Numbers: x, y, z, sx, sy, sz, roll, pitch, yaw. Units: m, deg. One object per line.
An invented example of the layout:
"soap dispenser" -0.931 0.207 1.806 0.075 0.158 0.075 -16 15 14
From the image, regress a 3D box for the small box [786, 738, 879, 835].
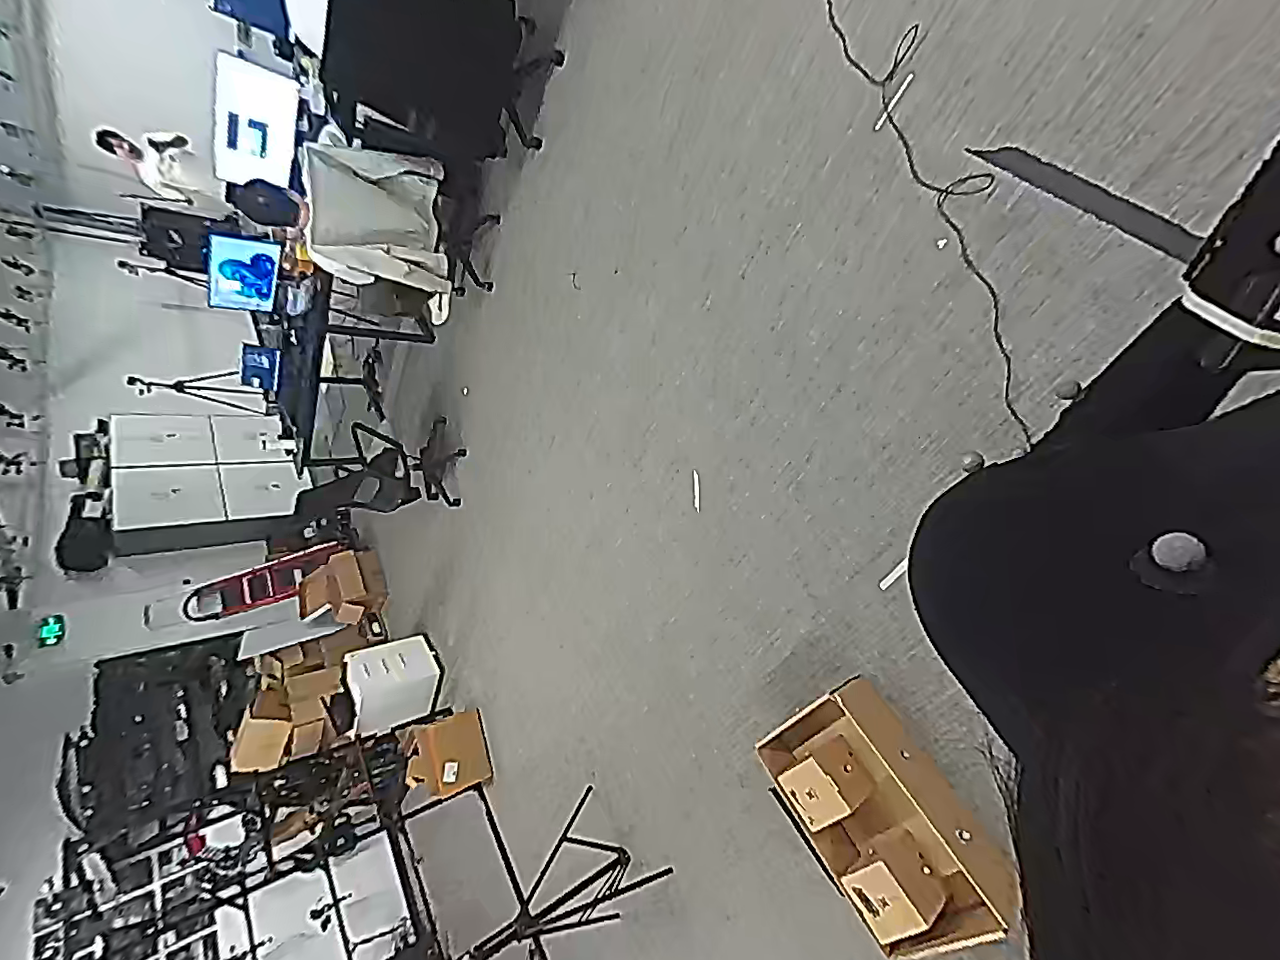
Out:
"small box" 0.576 0.898 1.598 0.168 0.176 0.179 54 129 26
